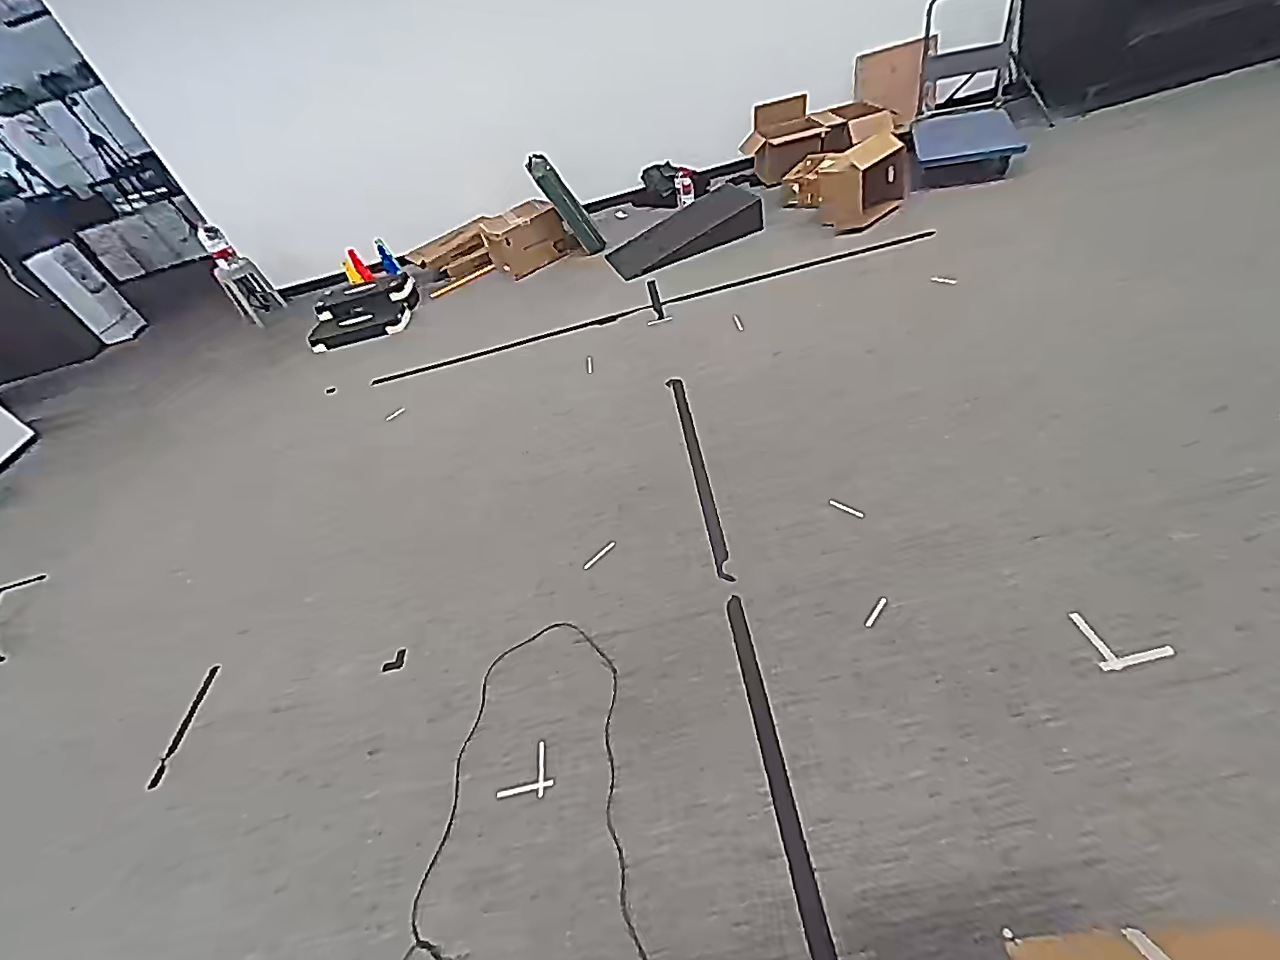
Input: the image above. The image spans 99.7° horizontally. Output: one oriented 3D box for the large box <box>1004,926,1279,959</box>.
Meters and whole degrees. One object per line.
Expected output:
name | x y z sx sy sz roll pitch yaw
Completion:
large box | 0.640 0.728 0.498 0.320 0.408 0.320 -11 81 8
